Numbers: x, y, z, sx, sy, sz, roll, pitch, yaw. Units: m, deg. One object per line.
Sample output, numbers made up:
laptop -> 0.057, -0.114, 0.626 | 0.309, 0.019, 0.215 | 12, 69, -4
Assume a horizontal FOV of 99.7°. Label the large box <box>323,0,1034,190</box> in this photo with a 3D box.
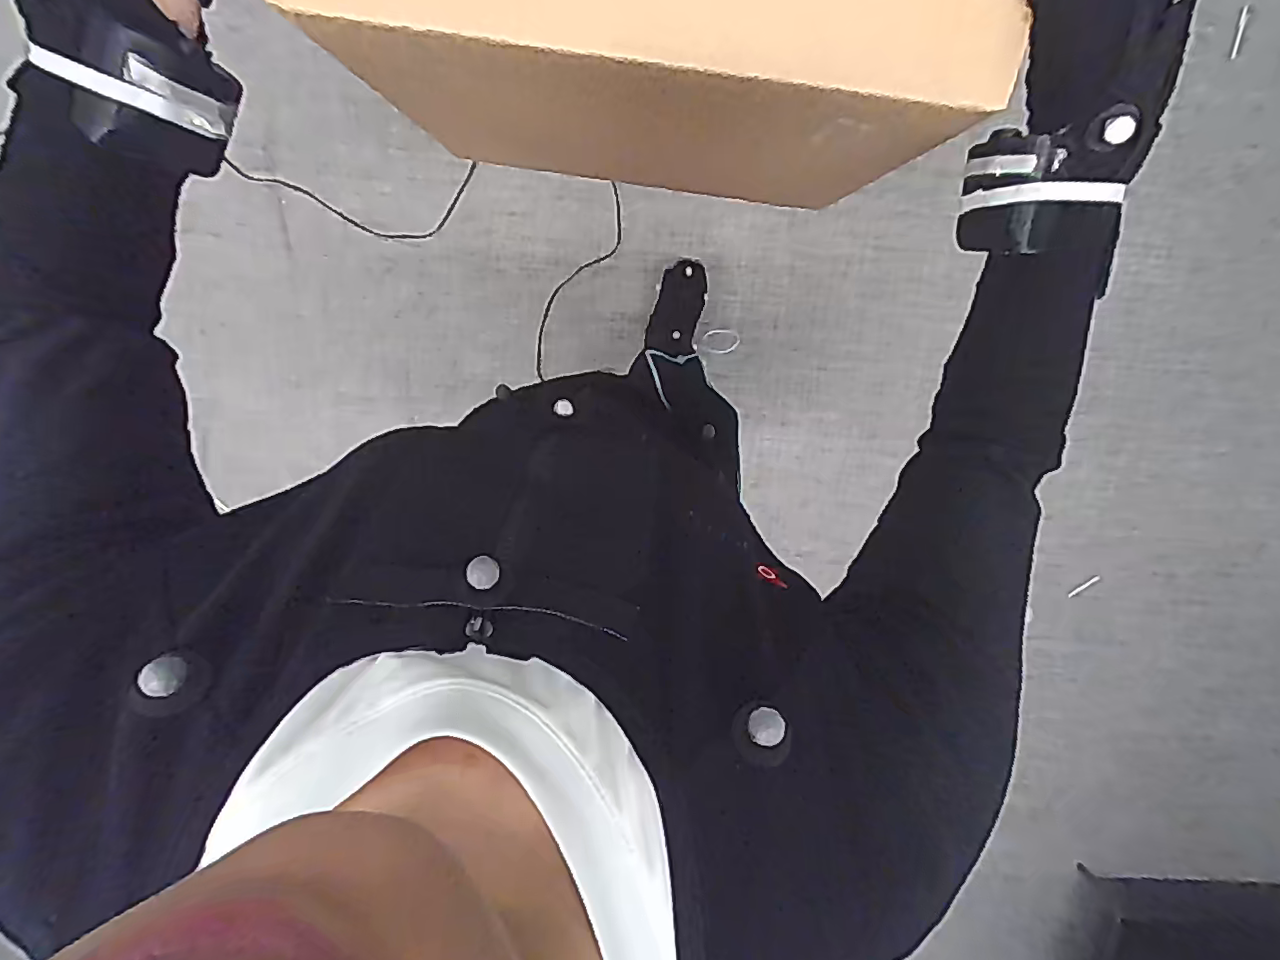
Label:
large box -> 0.028, -0.432, 0.398 | 0.408, 0.320, 0.320 | 6, 108, -3
